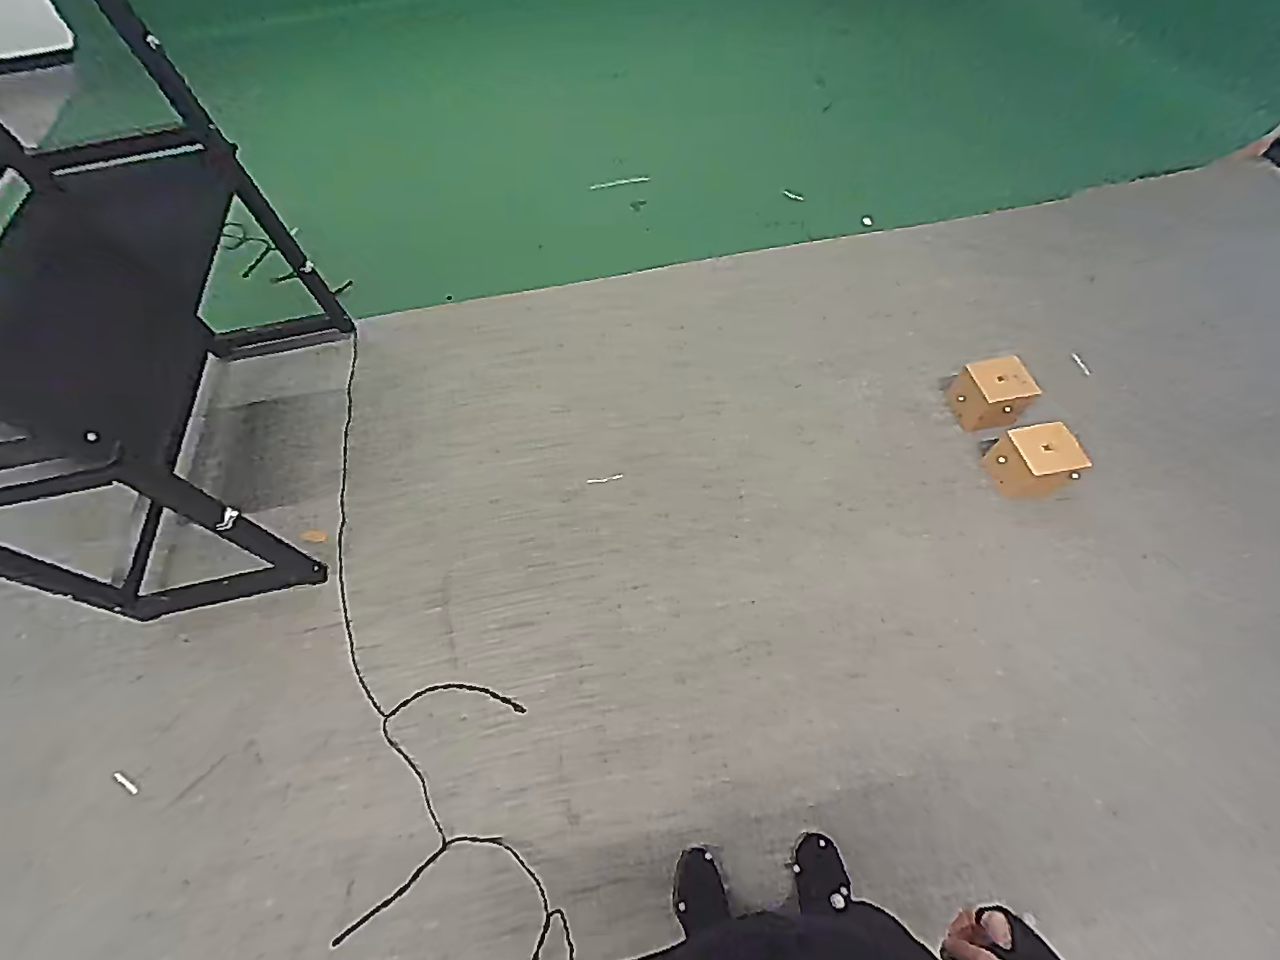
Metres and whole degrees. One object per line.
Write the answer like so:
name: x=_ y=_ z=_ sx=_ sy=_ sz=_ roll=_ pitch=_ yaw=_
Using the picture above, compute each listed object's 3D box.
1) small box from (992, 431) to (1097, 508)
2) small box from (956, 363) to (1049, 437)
small box: x=1.212 y=-0.027 z=1.644 sx=0.179 sy=0.176 sz=0.168 roll=-8 pitch=60 yaw=-1
small box: x=1.173 y=-0.258 z=1.774 sx=0.179 sy=0.176 sz=0.168 roll=-8 pitch=61 yaw=-1
